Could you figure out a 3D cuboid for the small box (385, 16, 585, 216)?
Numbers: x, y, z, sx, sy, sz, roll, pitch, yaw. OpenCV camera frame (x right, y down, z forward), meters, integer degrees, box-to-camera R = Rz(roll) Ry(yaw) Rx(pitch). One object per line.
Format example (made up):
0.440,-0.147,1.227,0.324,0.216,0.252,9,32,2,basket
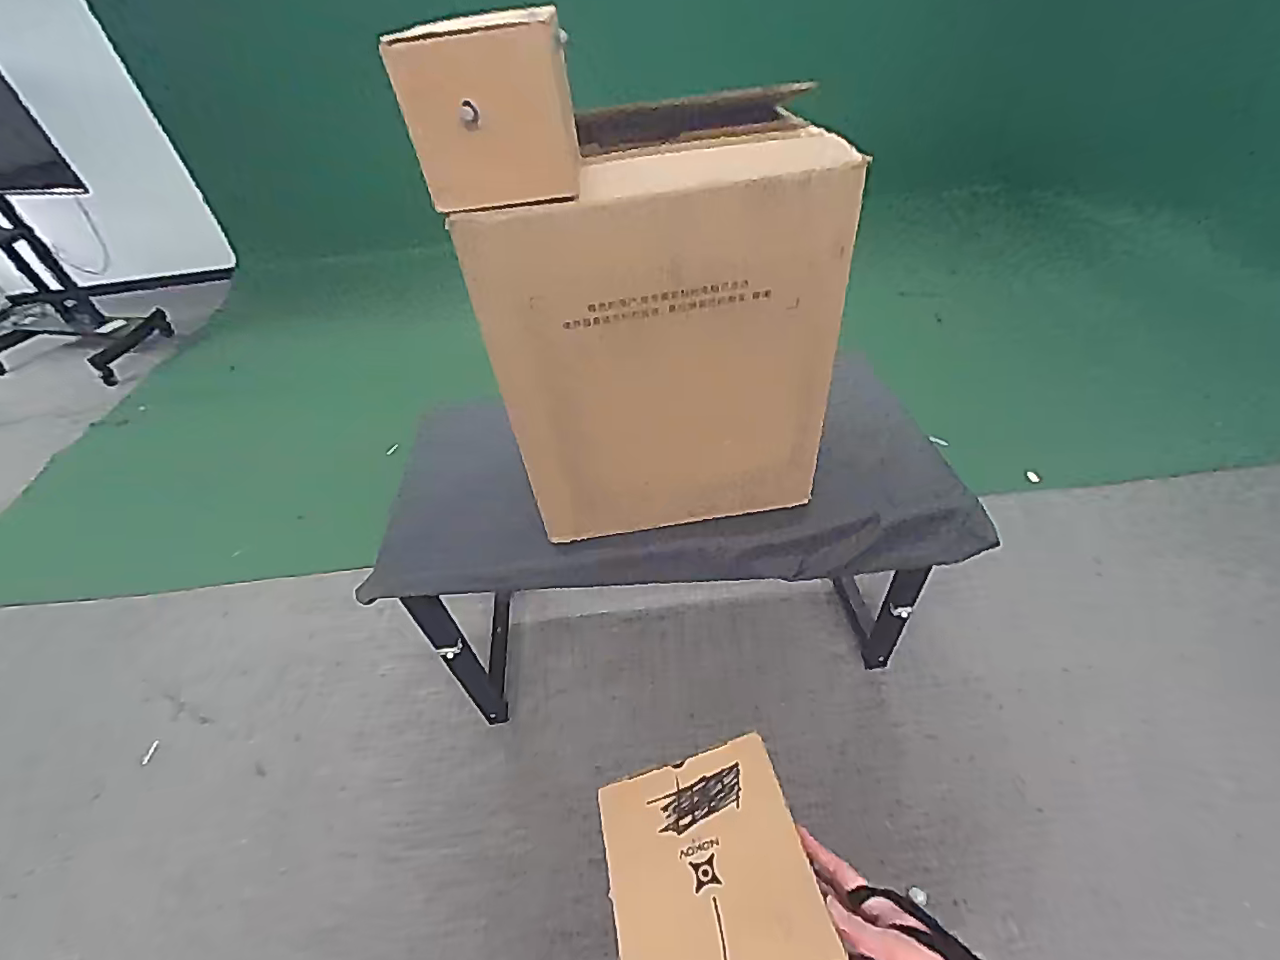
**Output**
-0.171,-0.440,0.662,0.179,0.176,0.168,-7,45,3,small box
